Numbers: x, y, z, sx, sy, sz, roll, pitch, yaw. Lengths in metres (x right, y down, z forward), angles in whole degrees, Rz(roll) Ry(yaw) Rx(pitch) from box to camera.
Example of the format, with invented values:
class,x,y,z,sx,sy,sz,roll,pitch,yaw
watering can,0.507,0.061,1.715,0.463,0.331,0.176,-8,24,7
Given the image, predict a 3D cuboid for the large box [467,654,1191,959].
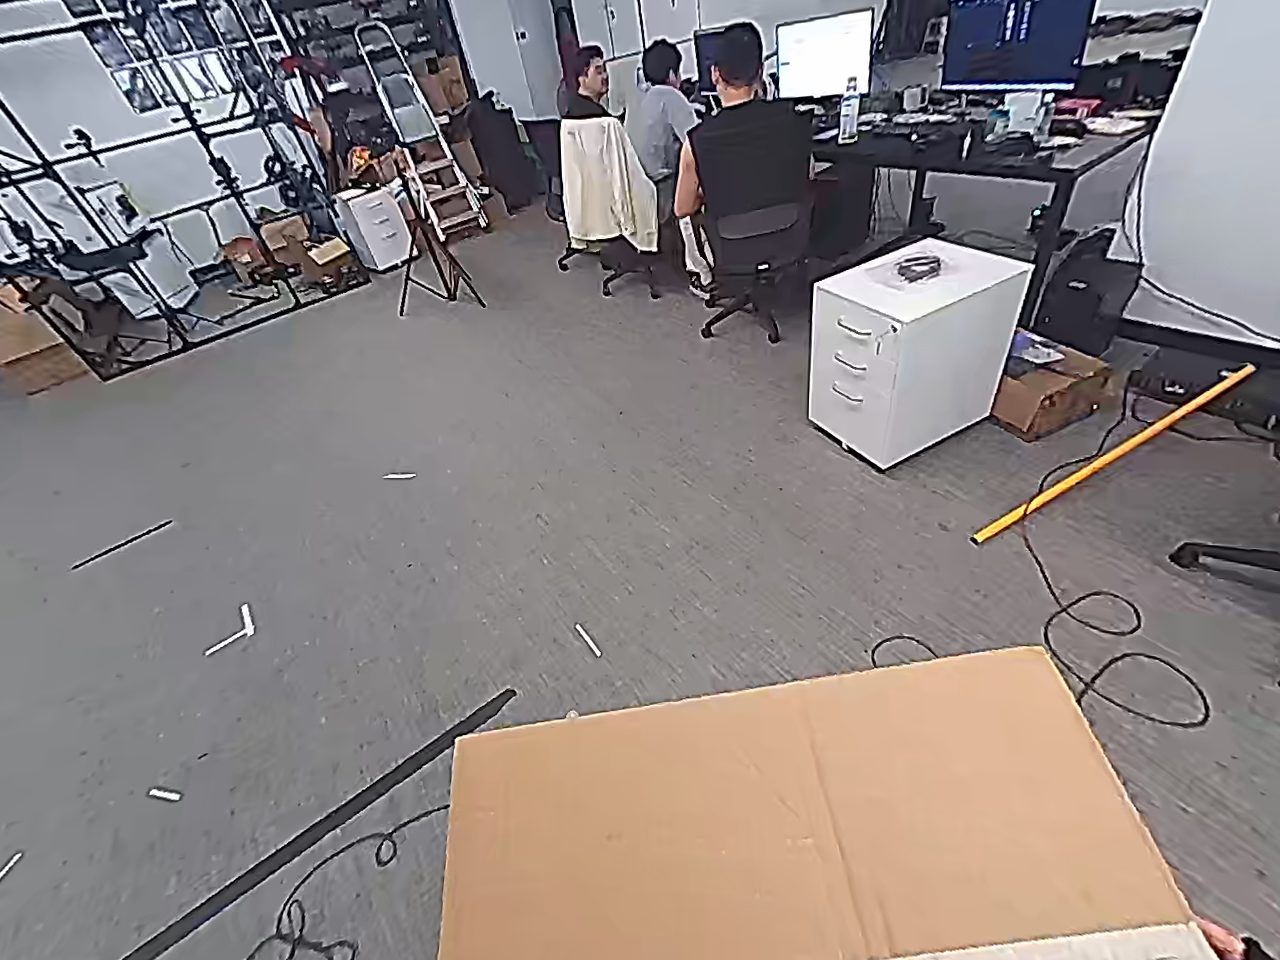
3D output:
class,x,y,z,sx,sy,sz,roll,pitch,yaw
large box,0.114,0.363,0.419,0.408,0.320,0.320,-10,57,3
